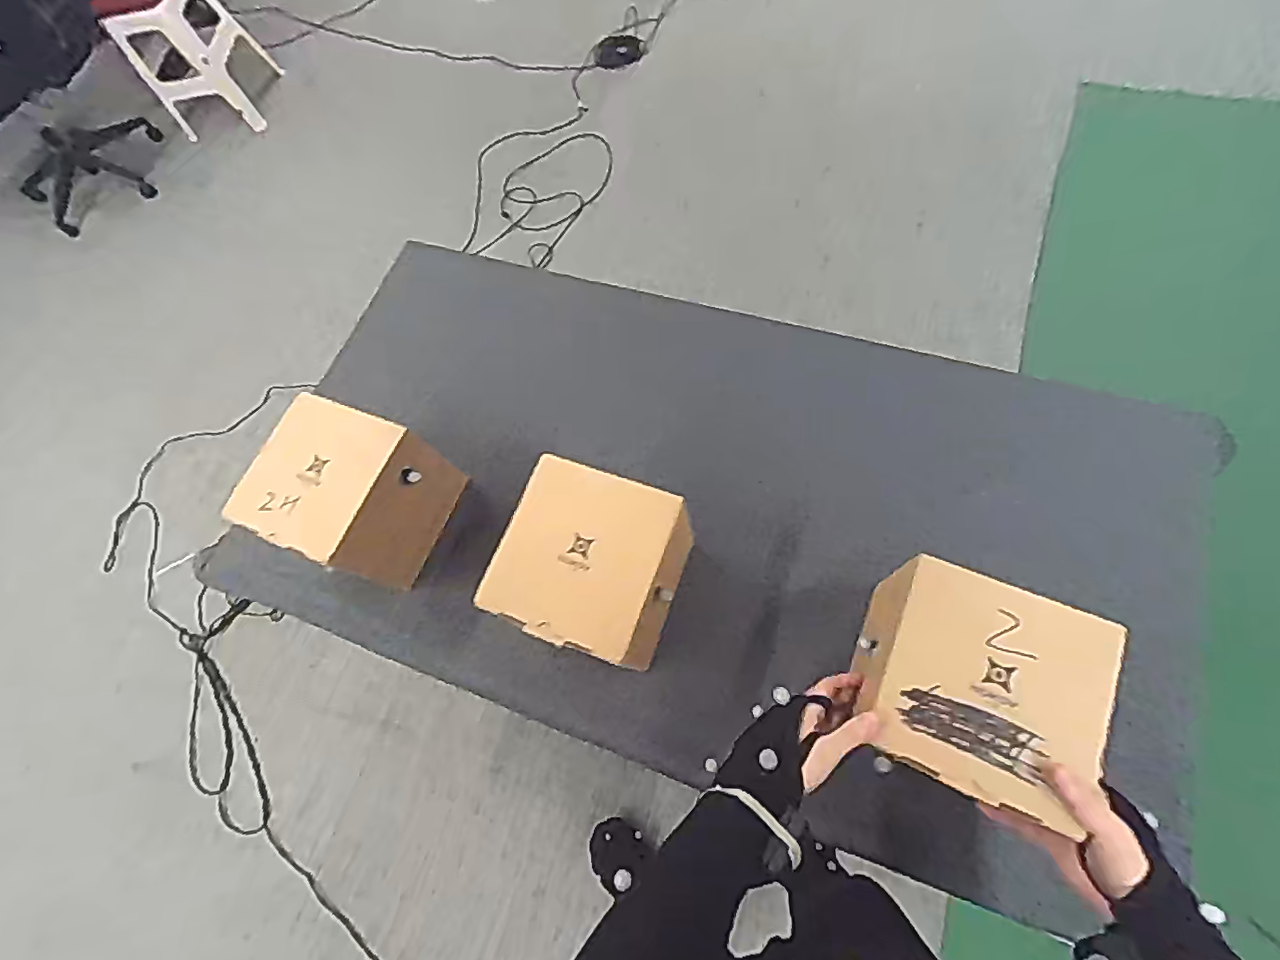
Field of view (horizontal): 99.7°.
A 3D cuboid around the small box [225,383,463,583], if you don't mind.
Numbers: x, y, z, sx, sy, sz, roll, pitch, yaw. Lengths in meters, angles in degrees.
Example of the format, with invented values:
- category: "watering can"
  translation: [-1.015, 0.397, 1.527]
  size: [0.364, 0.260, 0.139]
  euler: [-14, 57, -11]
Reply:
- category: "small box"
  translation: [-0.353, 0.011, 0.689]
  size: [0.168, 0.176, 0.179]
  euler: [20, 73, 15]

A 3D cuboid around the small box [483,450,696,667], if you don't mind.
- category: "small box"
  translation: [-0.042, 0.096, 0.613]
  size: [0.168, 0.176, 0.179]
  euler: [19, 73, 14]
